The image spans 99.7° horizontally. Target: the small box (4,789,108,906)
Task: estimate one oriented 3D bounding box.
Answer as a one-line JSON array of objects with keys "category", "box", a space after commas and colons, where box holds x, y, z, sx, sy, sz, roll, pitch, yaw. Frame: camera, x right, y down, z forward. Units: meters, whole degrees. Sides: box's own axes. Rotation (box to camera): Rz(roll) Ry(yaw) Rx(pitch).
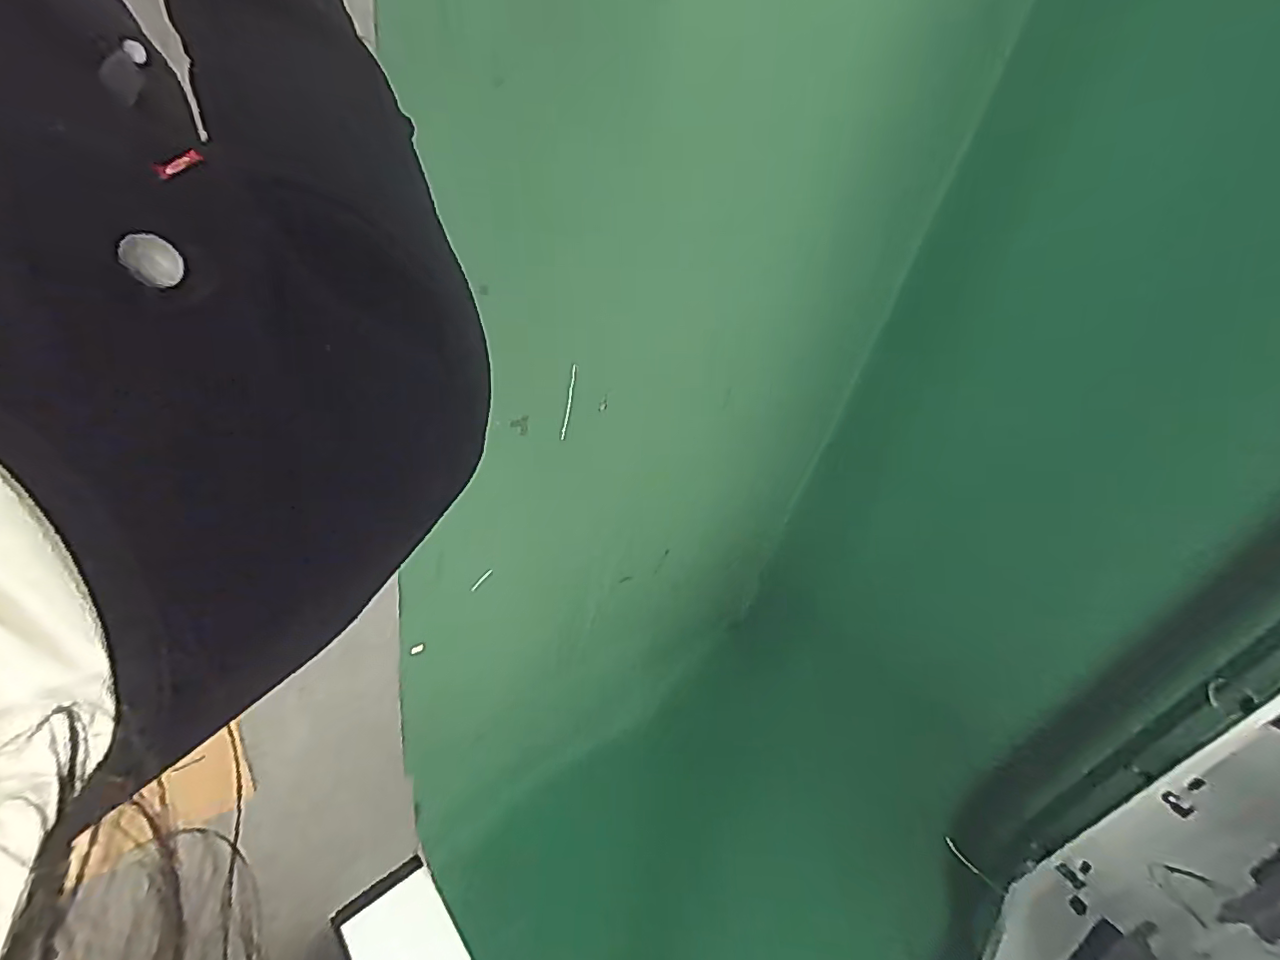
[{"category": "small box", "box": [-1.564, 0.971, 1.449, 0.168, 0.176, 0.179, -12, 131, -45]}]
